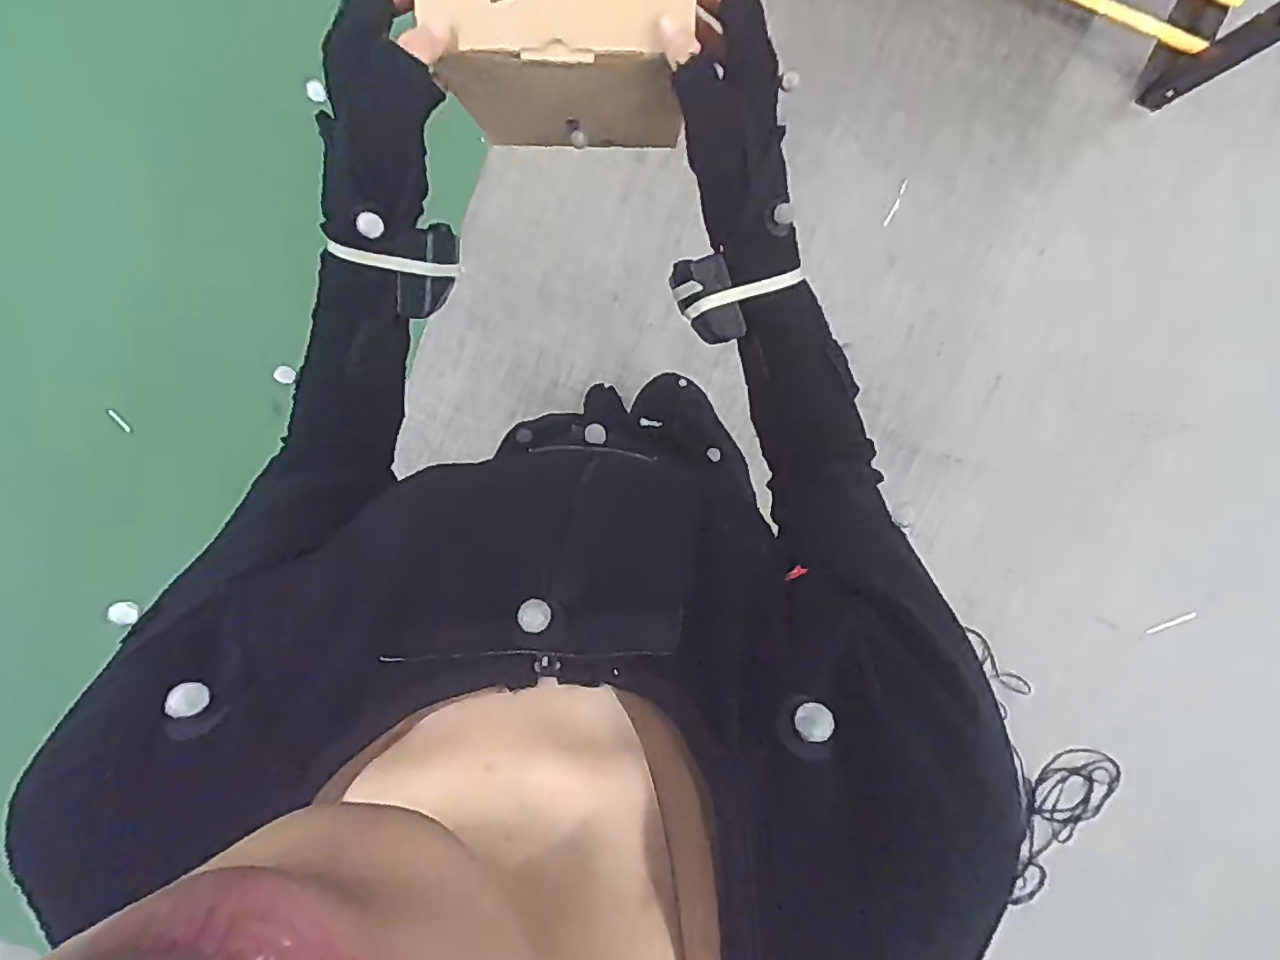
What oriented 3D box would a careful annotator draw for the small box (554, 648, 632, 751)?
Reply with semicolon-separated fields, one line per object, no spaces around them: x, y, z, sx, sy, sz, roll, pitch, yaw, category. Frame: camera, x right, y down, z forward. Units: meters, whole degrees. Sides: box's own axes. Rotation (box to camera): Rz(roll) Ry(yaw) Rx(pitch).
-0.123;0.596;1.485;0.168;0.176;0.179;19;97;-4;small box

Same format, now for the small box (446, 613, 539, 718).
-0.391;0.498;1.472;0.168;0.176;0.179;29;97;-4;small box
